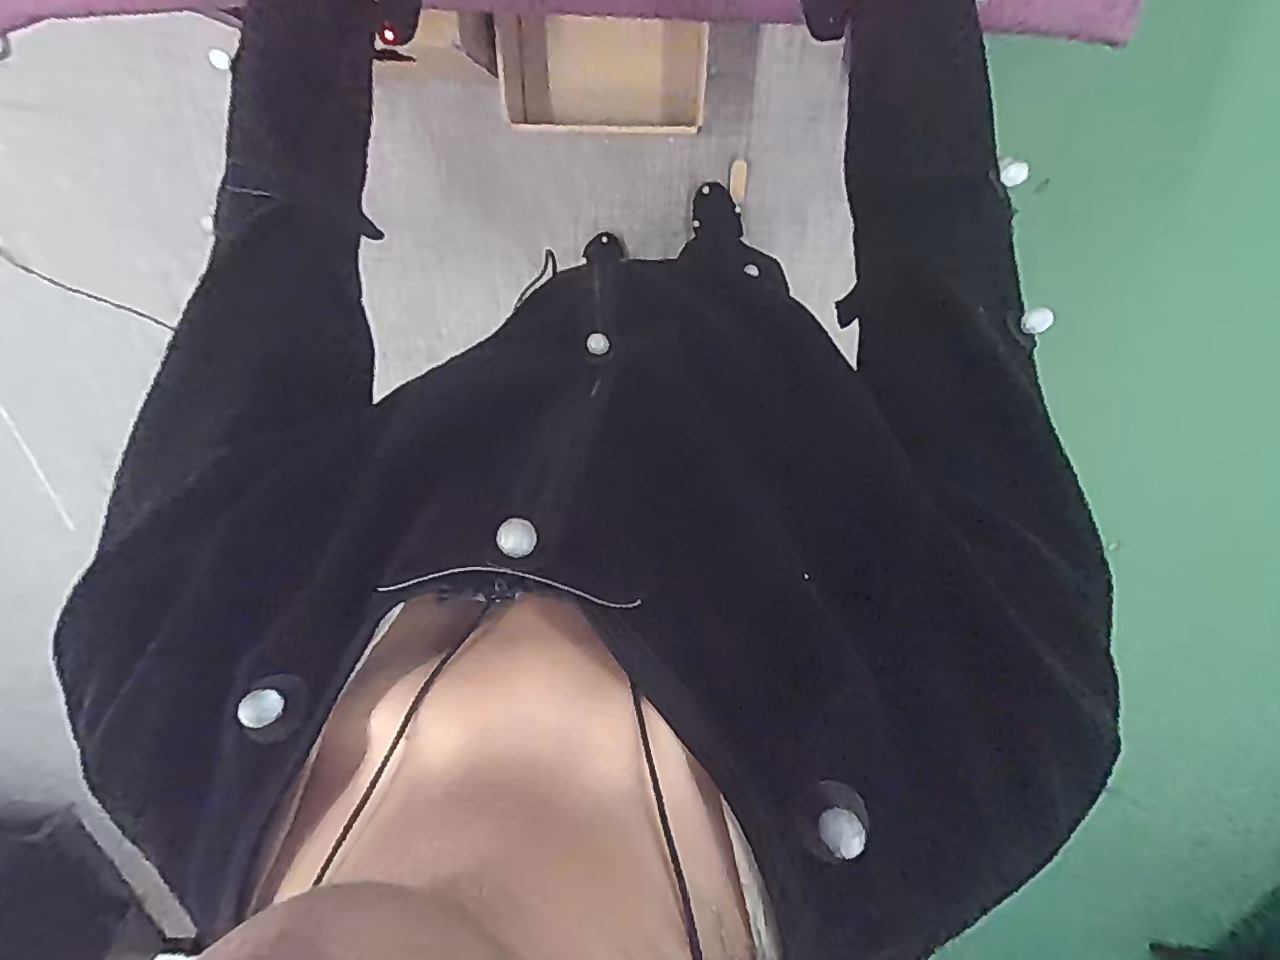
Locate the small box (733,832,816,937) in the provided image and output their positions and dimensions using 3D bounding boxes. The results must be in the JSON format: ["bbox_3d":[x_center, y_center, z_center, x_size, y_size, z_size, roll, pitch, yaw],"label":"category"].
[{"bbox_3d":[0.379,1.151,1.542,0.168,0.176,0.179,-24,111,13],"label":"small box"}]

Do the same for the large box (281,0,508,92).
[{"bbox_3d":[-0.443,-0.969,0.975,0.320,0.320,0.408,1,118,2],"label":"large box"}]

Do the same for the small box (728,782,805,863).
[{"bbox_3d":[0.392,1.089,1.694,0.168,0.176,0.179,-29,111,15],"label":"small box"}]
